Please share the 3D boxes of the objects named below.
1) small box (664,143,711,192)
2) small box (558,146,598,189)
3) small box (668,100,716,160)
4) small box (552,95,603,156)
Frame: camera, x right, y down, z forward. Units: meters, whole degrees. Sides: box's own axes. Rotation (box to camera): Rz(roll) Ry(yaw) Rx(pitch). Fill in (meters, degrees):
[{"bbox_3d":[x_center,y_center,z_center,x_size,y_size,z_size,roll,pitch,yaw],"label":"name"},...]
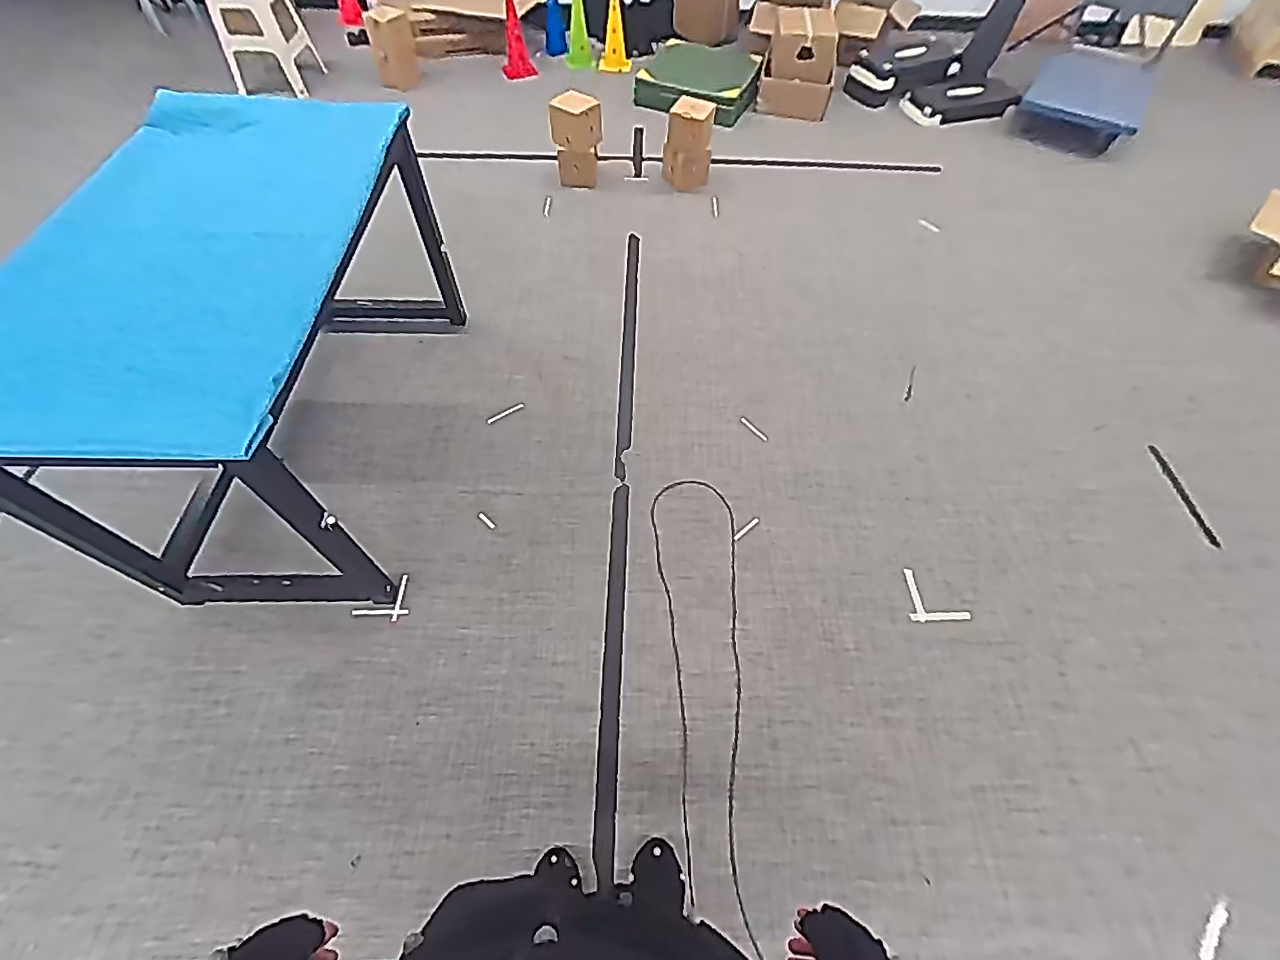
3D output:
[{"bbox_3d":[0.228,-1.552,2.668,0.179,0.176,0.168,-25,63,-17],"label":"small box"},{"bbox_3d":[-0.298,-1.547,2.643,0.179,0.176,0.168,3,56,1],"label":"small box"},{"bbox_3d":[0.239,-1.631,2.525,0.168,0.176,0.179,22,59,10],"label":"small box"},{"bbox_3d":[-0.292,-1.649,2.509,0.179,0.176,0.168,33,61,19],"label":"small box"}]
